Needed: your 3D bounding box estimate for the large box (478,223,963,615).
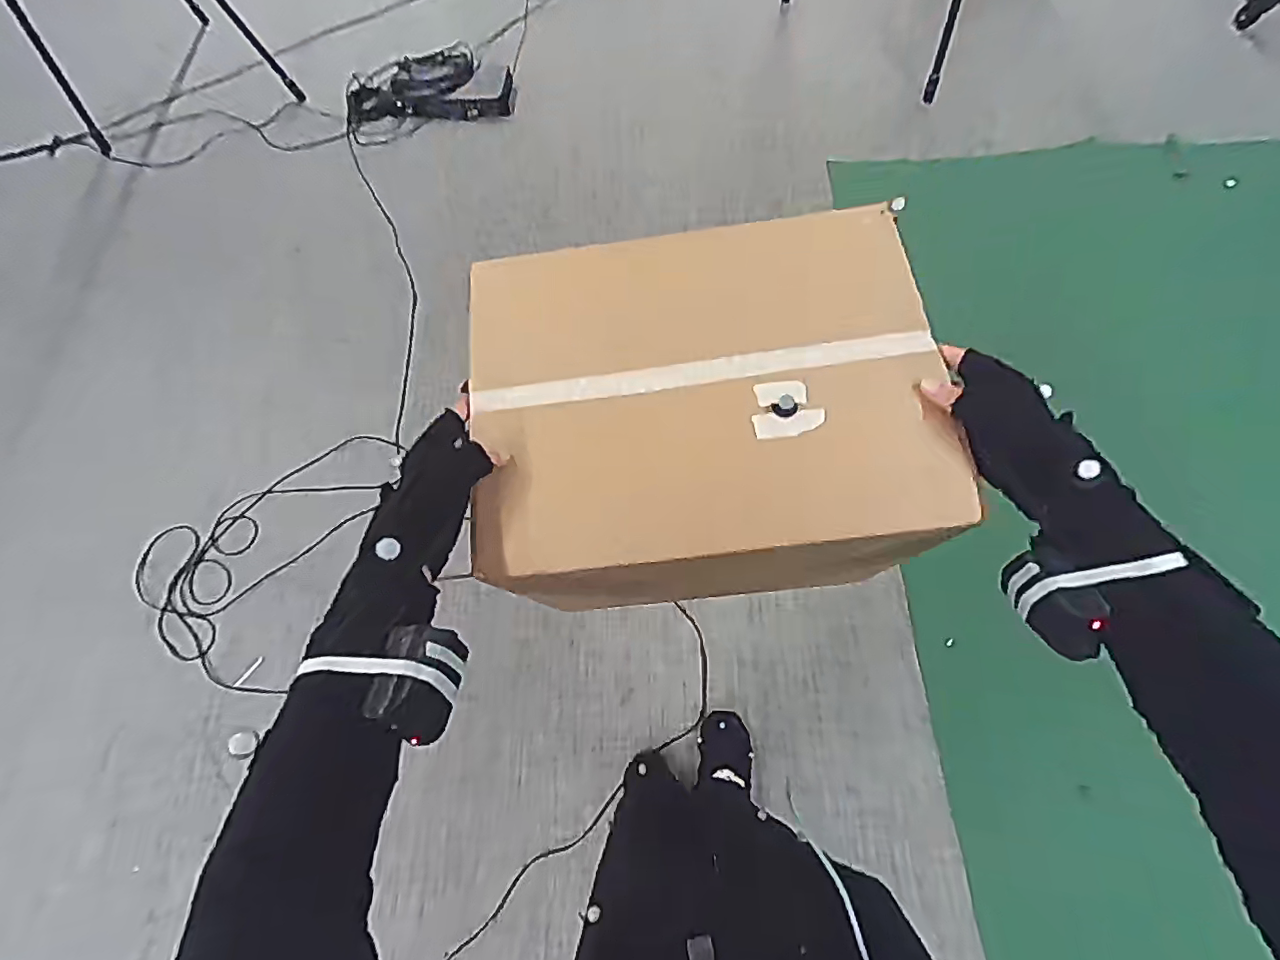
[{"bbox_3d":[0.059,-0.036,0.629,0.408,0.320,0.320,-7,71,2],"label":"large box"}]
